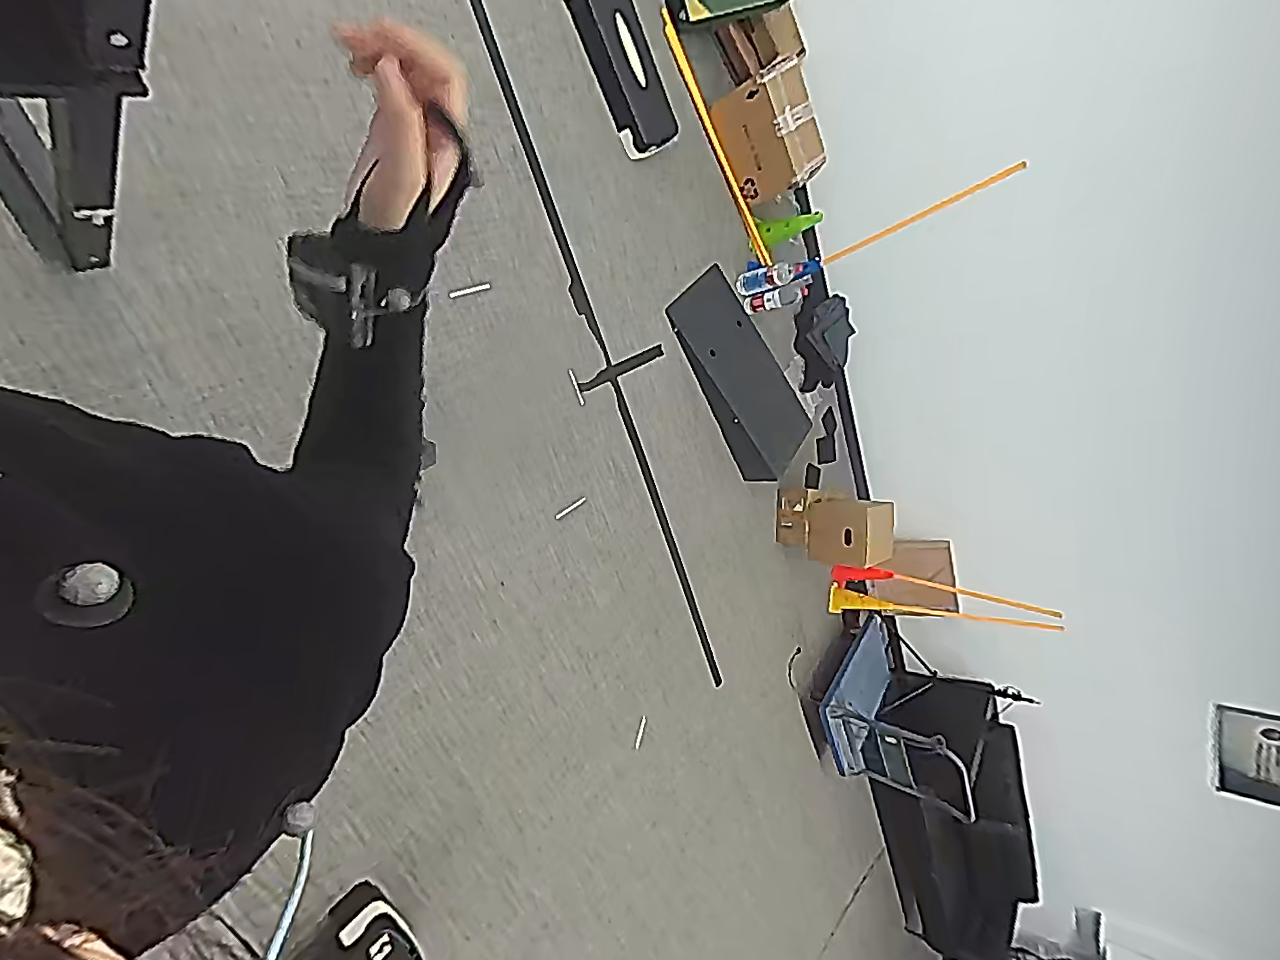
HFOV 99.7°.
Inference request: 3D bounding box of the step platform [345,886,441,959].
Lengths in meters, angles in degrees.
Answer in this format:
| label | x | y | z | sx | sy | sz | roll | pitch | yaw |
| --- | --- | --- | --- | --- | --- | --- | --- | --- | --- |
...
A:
| label | x | y | z | sx | sy | sz | roll | pitch | yaw |
| --- | --- | --- | --- | --- | --- | --- | --- | --- | --- |
| step platform | -0.795 | 1.329 | 1.223 | 0.684 | 0.204 | 0.286 | -29 | 109 | -43 |
